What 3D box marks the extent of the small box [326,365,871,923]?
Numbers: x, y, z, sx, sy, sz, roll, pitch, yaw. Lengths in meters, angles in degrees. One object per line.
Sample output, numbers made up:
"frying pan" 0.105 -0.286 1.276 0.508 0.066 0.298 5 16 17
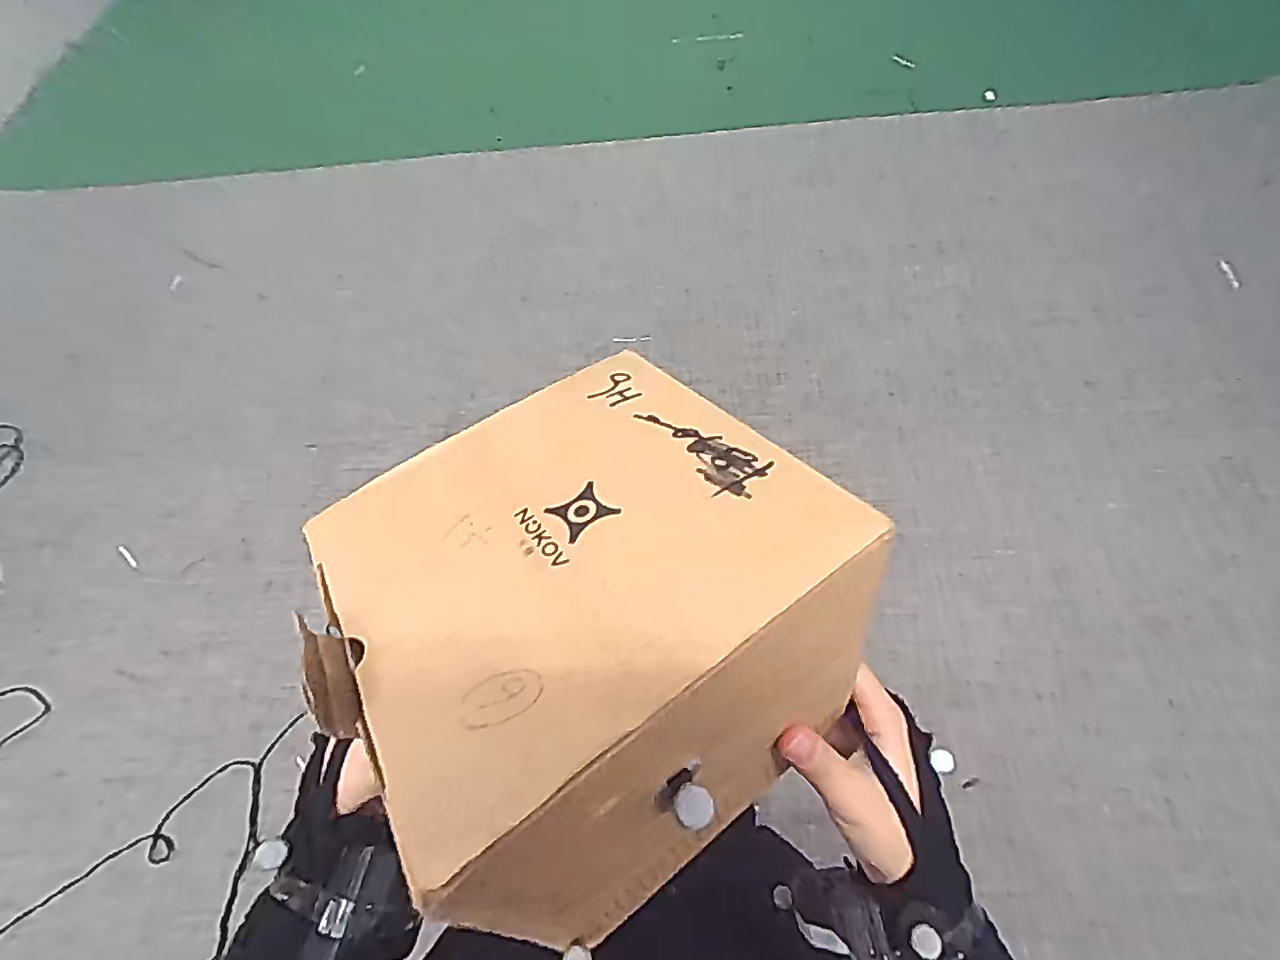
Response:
"small box" -0.014 0.078 0.274 0.179 0.176 0.168 -32 48 -18
